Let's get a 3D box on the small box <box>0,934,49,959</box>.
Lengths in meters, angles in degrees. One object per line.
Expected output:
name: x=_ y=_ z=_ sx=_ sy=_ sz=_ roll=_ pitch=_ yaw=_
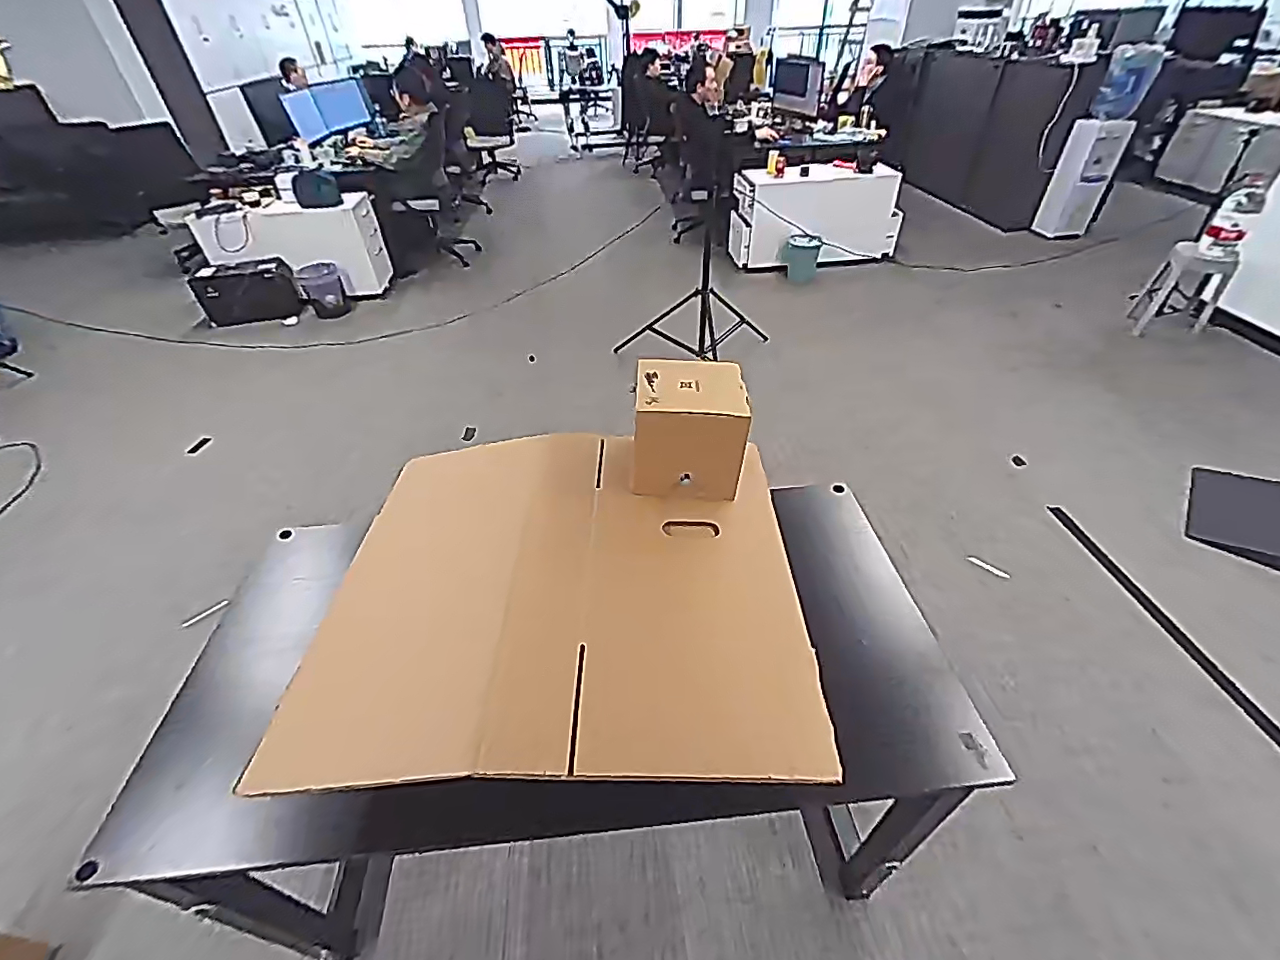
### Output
small box: x=-1.345 y=1.037 z=1.064 sx=0.168 sy=0.176 sz=0.179 roll=-8 pitch=42 yaw=-6

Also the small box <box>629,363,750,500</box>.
small box: x=0.077 y=-0.081 z=0.920 sx=0.179 sy=0.176 sz=0.168 roll=3 pitch=39 yaw=-1
